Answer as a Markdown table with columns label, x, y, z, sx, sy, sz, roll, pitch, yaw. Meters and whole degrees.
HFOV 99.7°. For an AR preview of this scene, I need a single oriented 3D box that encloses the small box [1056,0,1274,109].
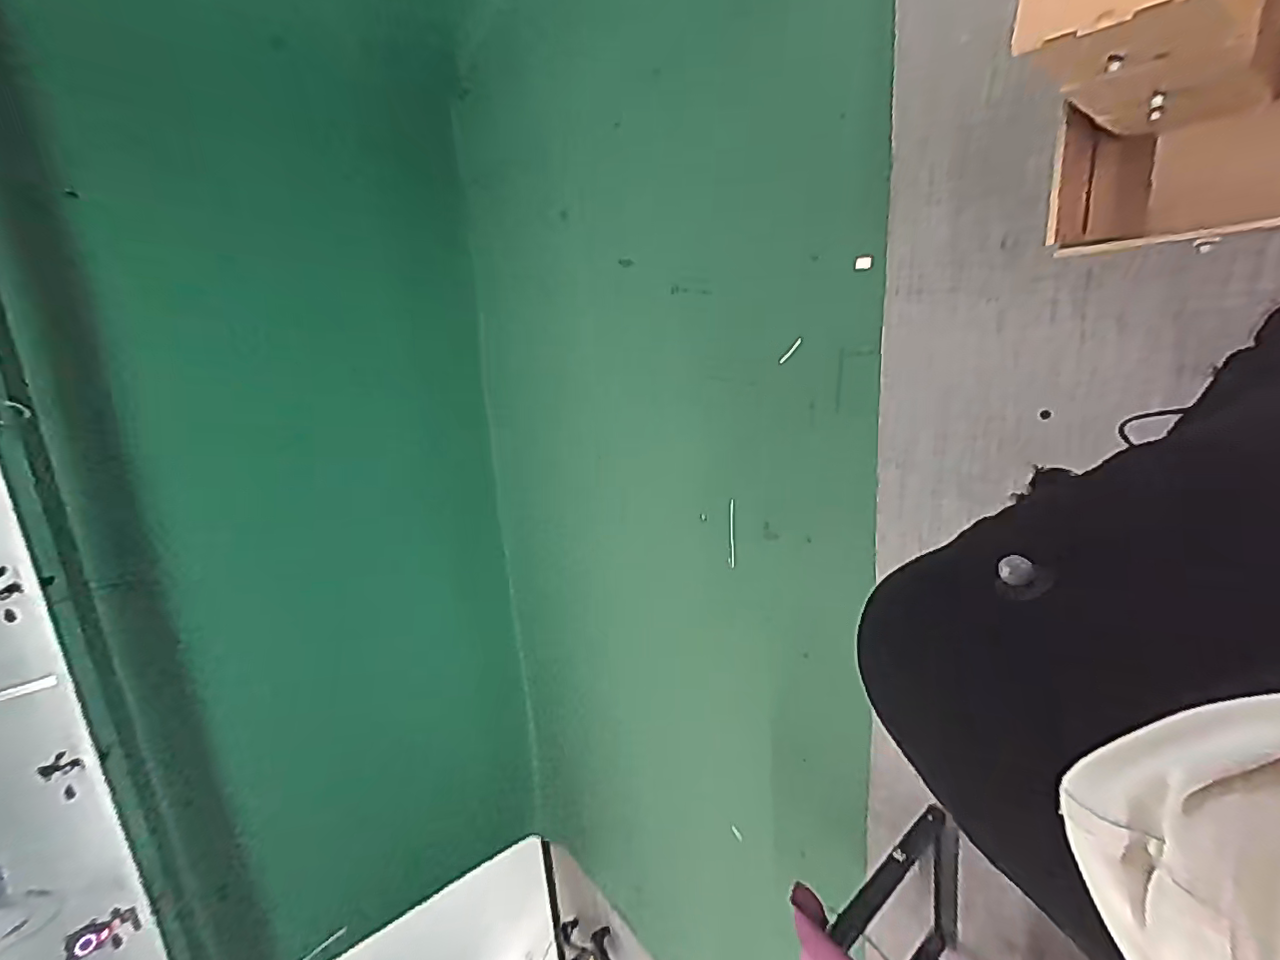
| label | x | y | z | sx | sy | sz | roll | pitch | yaw |
| --- | --- | --- | --- | --- | --- | --- | --- | --- | --- |
| small box | 0.646 | -0.590 | 0.658 | 0.168 | 0.176 | 0.179 | 19 | 116 | 49 |

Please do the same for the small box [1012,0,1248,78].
| label | x | y | z | sx | sy | sz | roll | pitch | yaw |
| --- | --- | --- | --- | --- | --- | --- | --- | --- | --- |
| small box | 0.522 | -0.559 | 0.559 | 0.168 | 0.176 | 0.179 | 20 | 117 | 48 |

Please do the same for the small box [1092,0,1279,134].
| label | x | y | z | sx | sy | sz | roll | pitch | yaw |
| --- | --- | --- | --- | --- | --- | --- | --- | --- | --- |
| small box | 0.773 | -0.620 | 0.758 | 0.168 | 0.176 | 0.179 | 16 | 113 | 49 |
